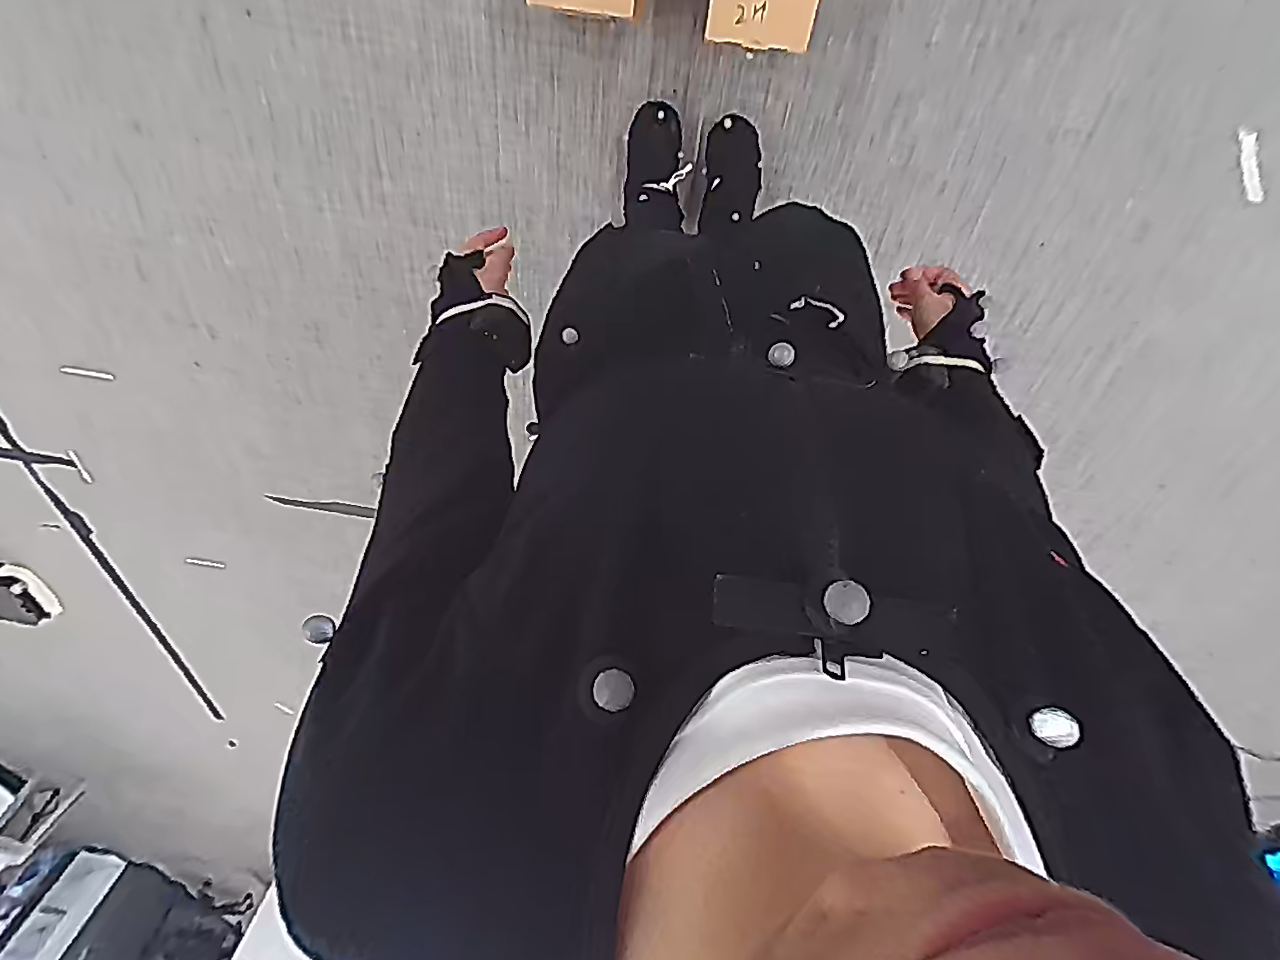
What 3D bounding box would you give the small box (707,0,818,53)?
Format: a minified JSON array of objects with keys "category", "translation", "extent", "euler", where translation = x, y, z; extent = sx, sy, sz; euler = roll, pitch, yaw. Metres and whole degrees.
[{"category":"small box","translation":[0.202,-0.815,0.877],"extent":[0.168,0.176,0.179],"euler":[8,129,1]}]
